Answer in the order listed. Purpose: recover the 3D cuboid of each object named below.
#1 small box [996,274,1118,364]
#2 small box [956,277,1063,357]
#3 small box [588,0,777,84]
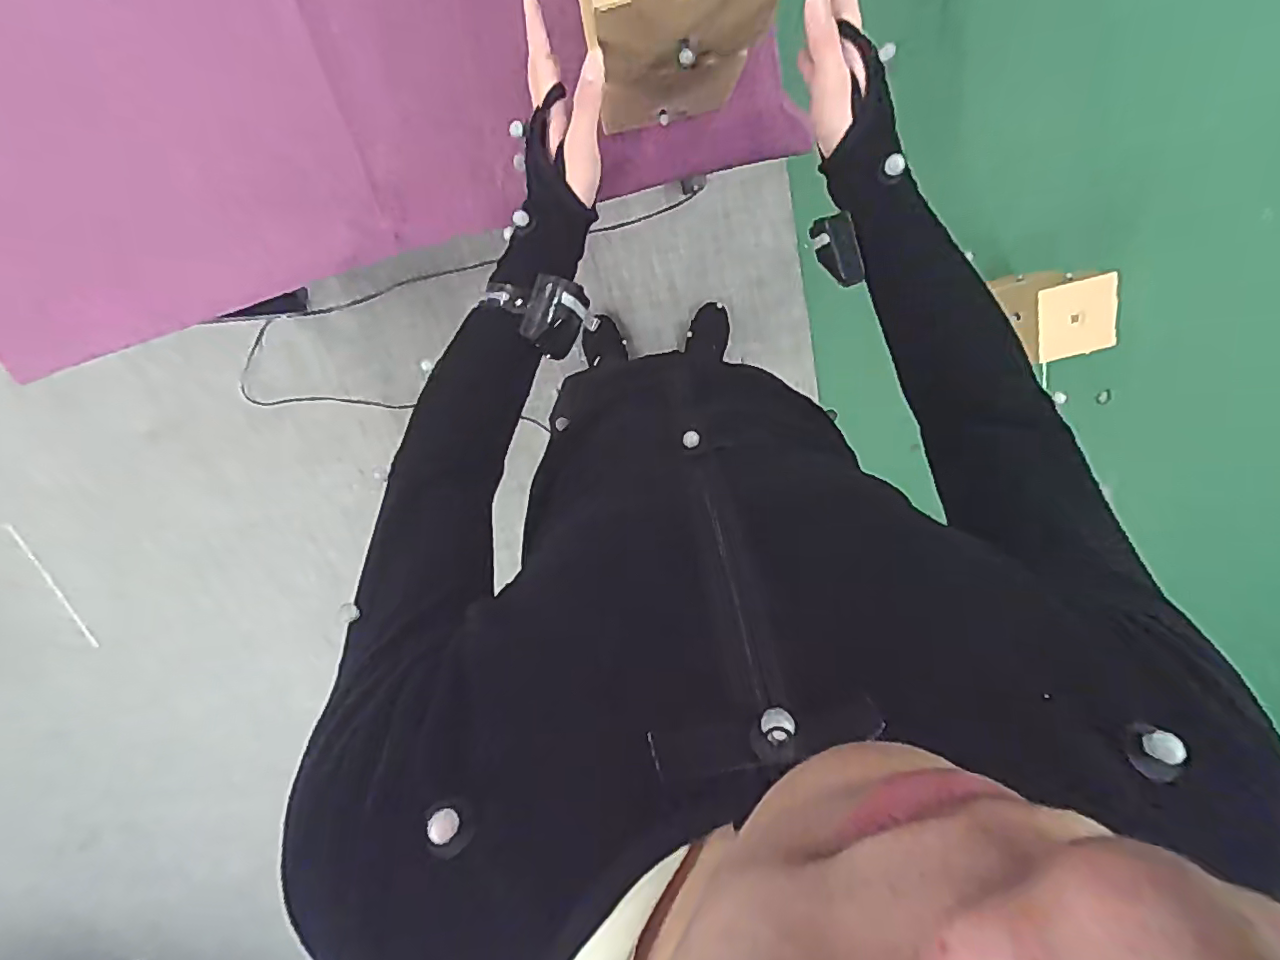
[{"bbox_3d":[0.980,-0.382,1.288,0.179,0.176,0.168,-14,108,3],"label":"small box"},{"bbox_3d":[0.977,-0.437,1.439,0.179,0.176,0.168,-13,108,5],"label":"small box"},{"bbox_3d":[0.025,-0.486,0.462,0.168,0.176,0.179,-12,108,5],"label":"small box"}]
